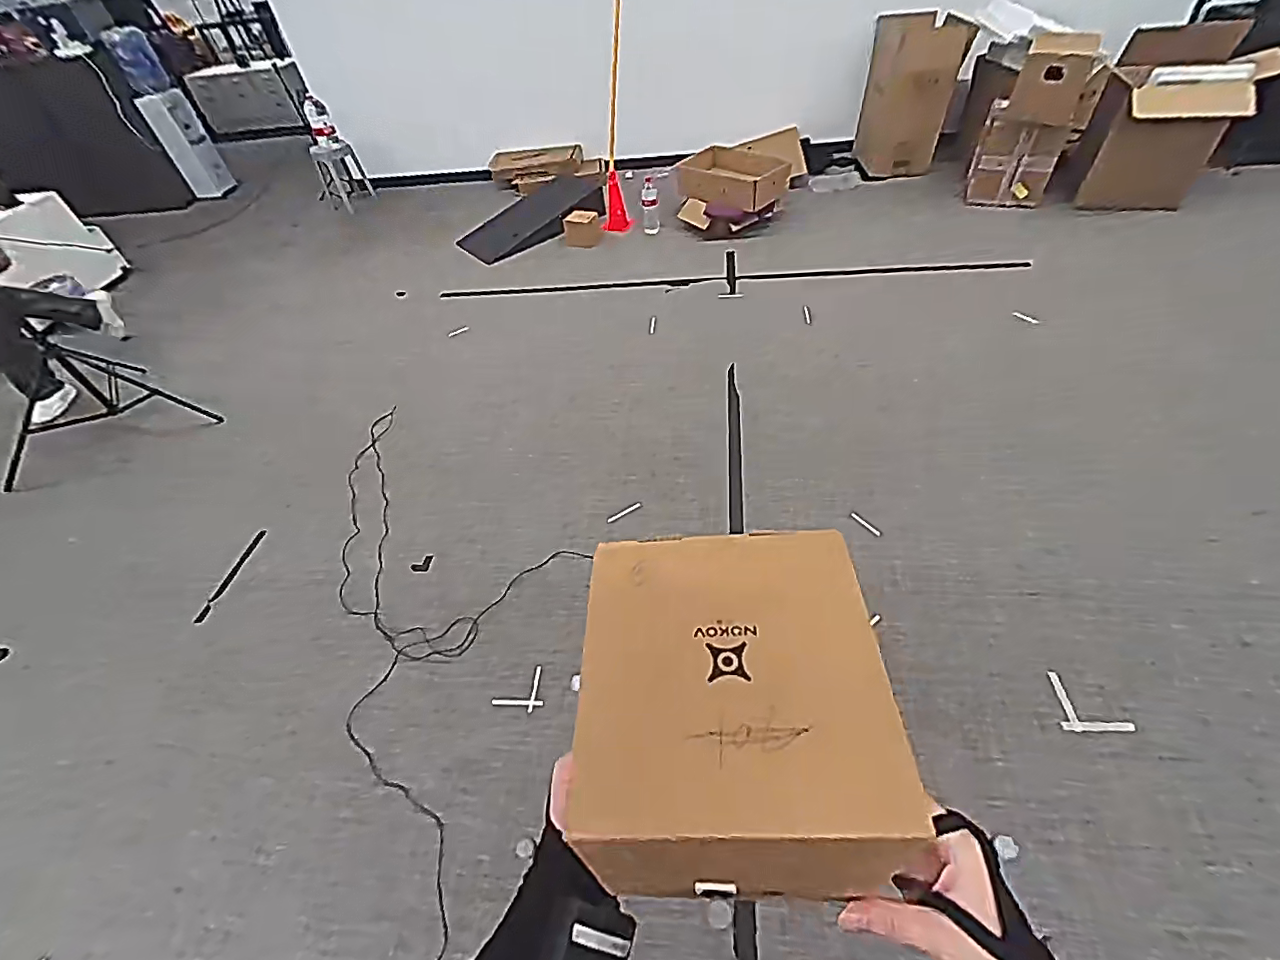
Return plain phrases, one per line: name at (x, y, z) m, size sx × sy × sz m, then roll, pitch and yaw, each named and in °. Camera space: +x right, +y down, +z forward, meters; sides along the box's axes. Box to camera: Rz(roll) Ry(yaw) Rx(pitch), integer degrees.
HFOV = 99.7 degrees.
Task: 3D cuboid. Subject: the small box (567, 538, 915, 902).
small box at (0.057, 0.161, 0.368) m, size 0.168 × 0.176 × 0.179 m, roll -4°, pitch 45°, yaw 6°
